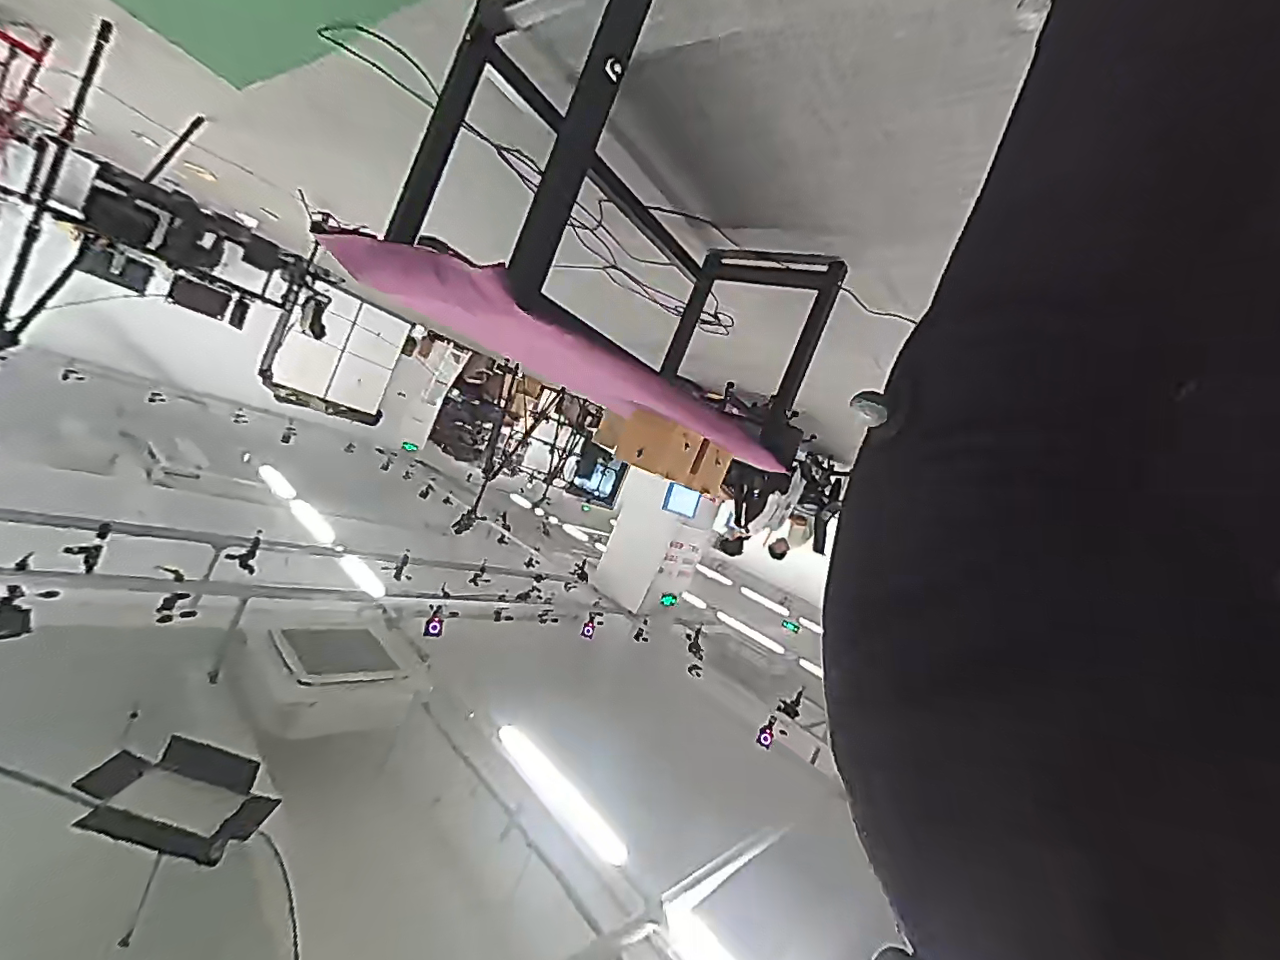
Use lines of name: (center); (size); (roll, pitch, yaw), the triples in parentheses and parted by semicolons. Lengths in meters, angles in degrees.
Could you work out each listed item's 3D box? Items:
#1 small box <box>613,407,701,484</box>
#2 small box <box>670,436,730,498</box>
small box: (0.054, -0.109, 1.641); (0.179, 0.176, 0.168); (23, -179, 38)
small box: (0.171, -0.061, 1.804); (0.179, 0.176, 0.168); (23, -178, 38)
